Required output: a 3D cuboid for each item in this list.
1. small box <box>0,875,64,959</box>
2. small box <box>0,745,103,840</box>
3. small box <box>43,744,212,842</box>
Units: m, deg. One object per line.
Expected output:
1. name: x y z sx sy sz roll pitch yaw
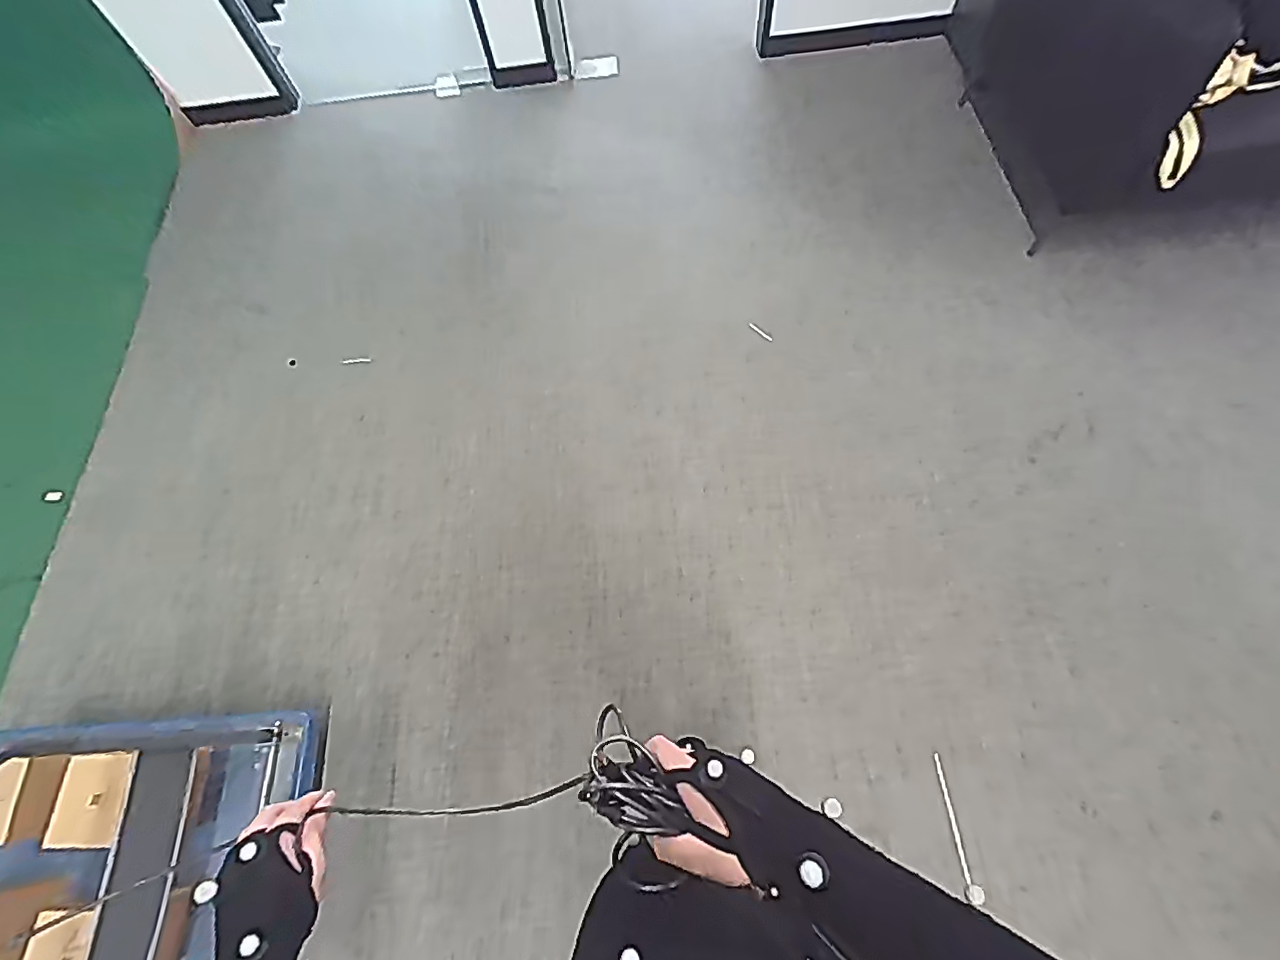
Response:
1. small box: -1.323 0.908 1.070 0.179 0.176 0.168 -7 66 0
2. small box: -1.341 0.673 1.169 0.179 0.176 0.168 -5 68 0
3. small box: -1.084 0.664 1.160 0.179 0.176 0.168 -3 67 2
